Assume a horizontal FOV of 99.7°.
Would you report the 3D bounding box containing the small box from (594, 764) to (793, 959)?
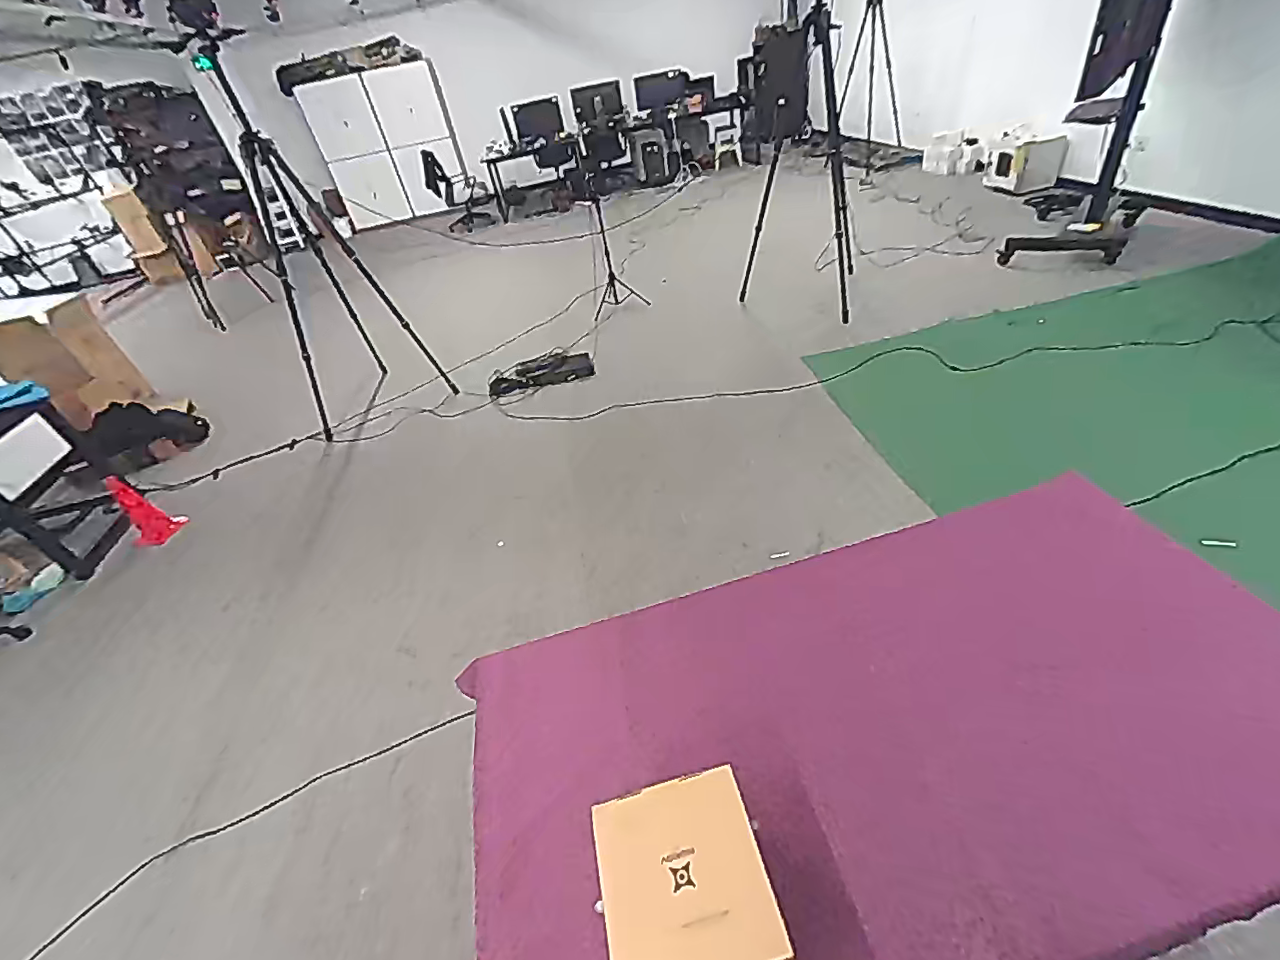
[{"bbox_3d":[0.056,0.456,0.596,0.168,0.176,0.179,-16,39,-3],"label":"small box"}]
